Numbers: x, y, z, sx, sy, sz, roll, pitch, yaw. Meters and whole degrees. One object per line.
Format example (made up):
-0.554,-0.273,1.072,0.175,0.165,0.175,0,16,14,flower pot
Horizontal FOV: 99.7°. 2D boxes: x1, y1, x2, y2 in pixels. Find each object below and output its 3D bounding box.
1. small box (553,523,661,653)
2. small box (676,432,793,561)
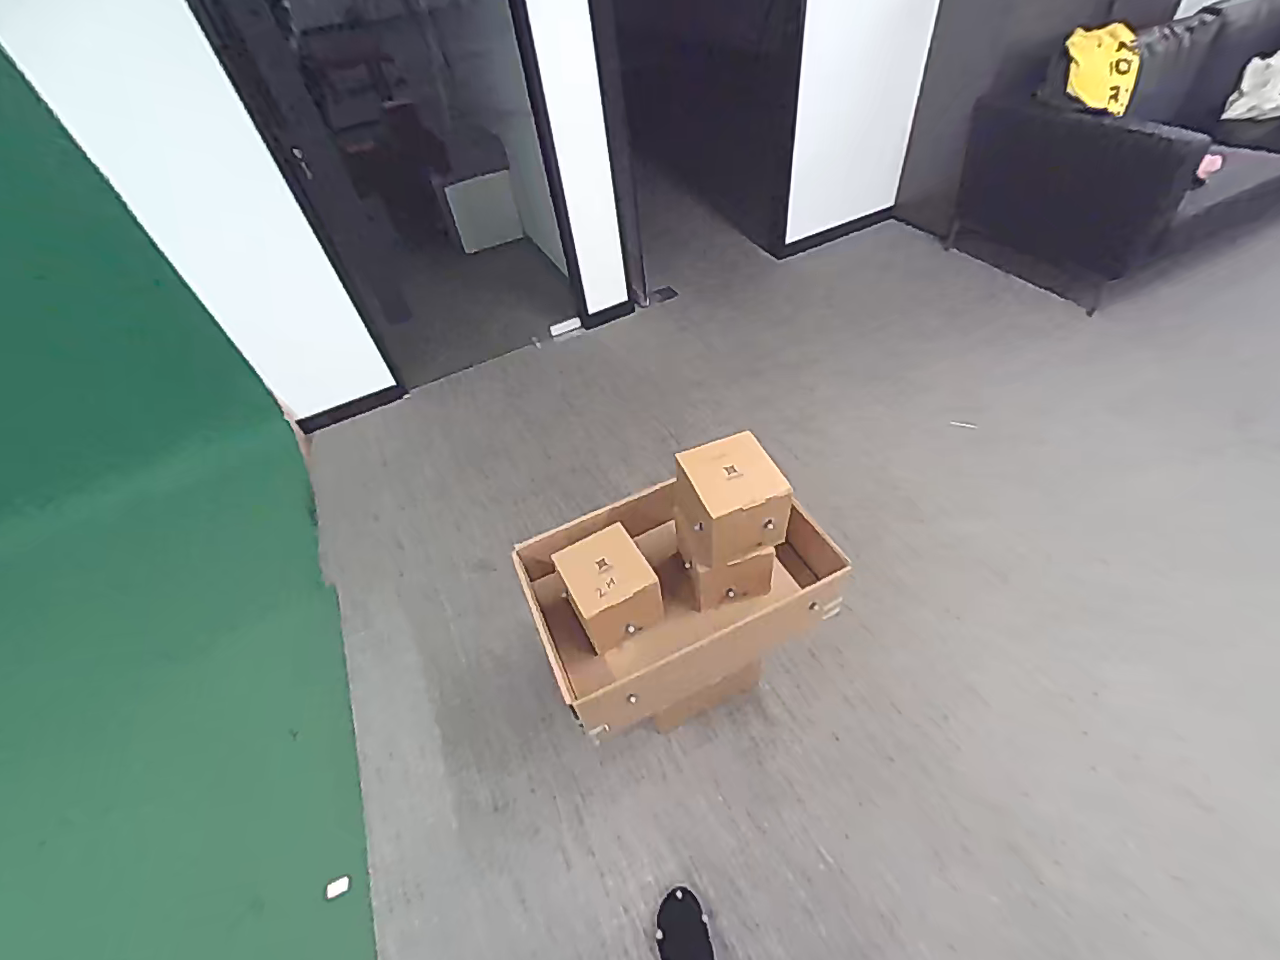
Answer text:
-0.067,0.231,1.148,0.168,0.176,0.179,-25,50,-15,small box
0.181,0.040,1.071,0.168,0.176,0.179,-18,48,-9,small box
